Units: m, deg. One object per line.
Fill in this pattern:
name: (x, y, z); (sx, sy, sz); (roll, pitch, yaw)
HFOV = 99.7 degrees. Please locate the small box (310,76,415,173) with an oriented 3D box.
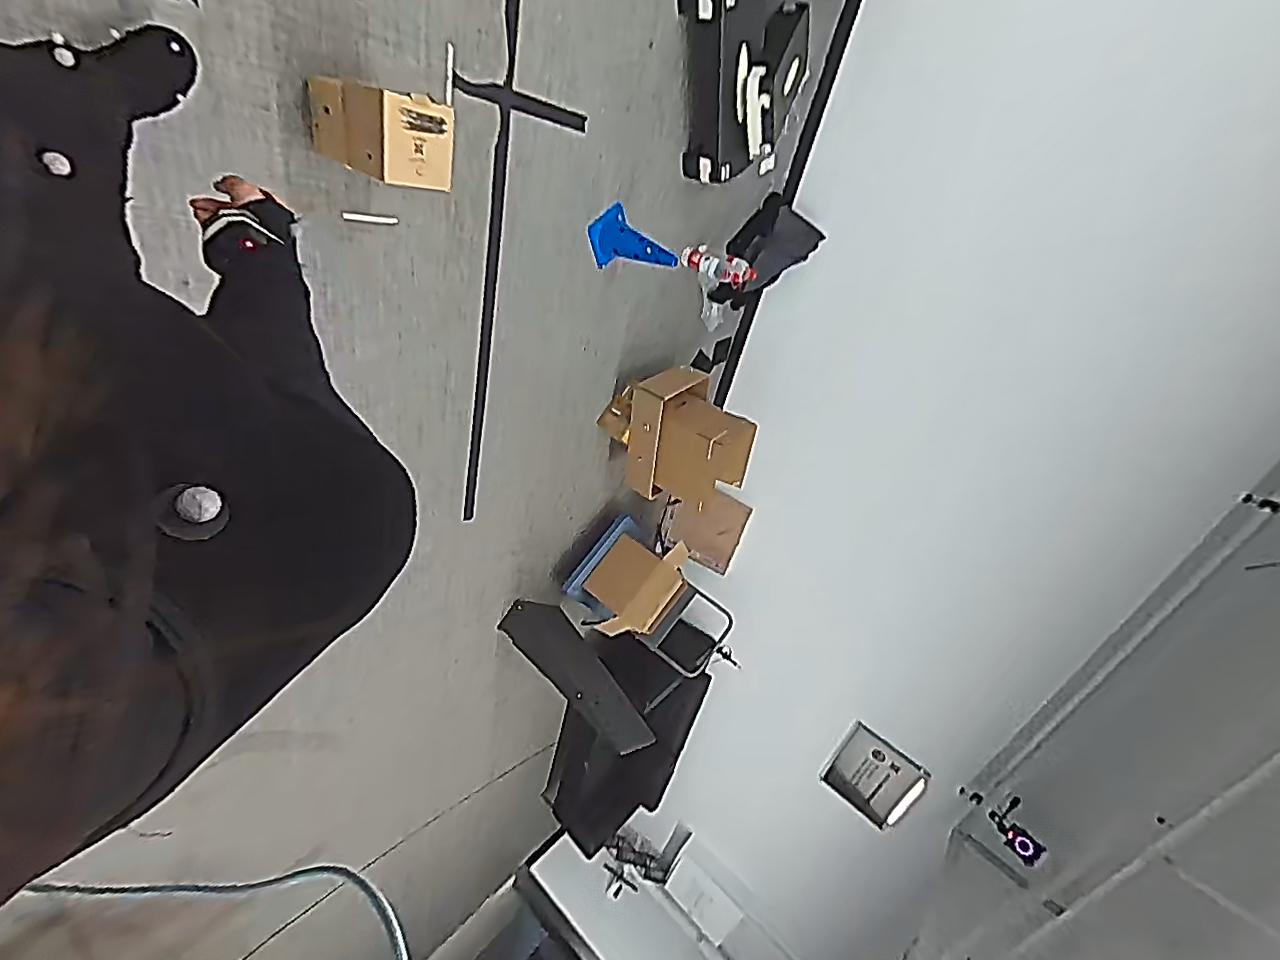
small box: (-0.674, -0.861, 1.313); (0.179, 0.176, 0.168); (-26, 140, -44)
